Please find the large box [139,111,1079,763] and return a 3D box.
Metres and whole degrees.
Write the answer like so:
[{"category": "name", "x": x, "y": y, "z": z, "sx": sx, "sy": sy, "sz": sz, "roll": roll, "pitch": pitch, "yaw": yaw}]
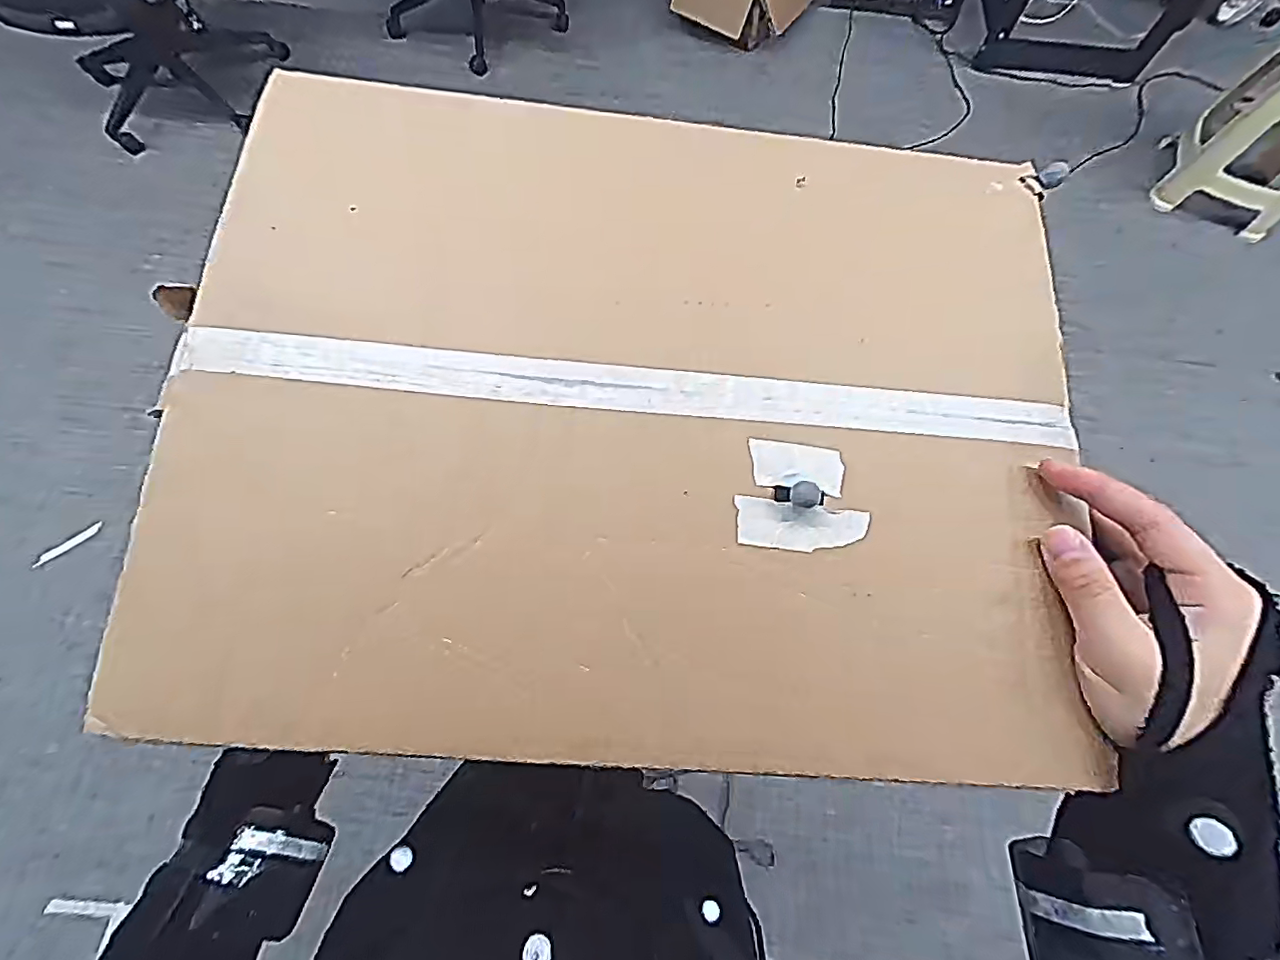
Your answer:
[{"category": "large box", "x": -0.007, "y": 0.001, "z": 0.406, "sx": 0.408, "sy": 0.320, "sz": 0.320, "roll": 5, "pitch": 76, "yaw": -4}]
